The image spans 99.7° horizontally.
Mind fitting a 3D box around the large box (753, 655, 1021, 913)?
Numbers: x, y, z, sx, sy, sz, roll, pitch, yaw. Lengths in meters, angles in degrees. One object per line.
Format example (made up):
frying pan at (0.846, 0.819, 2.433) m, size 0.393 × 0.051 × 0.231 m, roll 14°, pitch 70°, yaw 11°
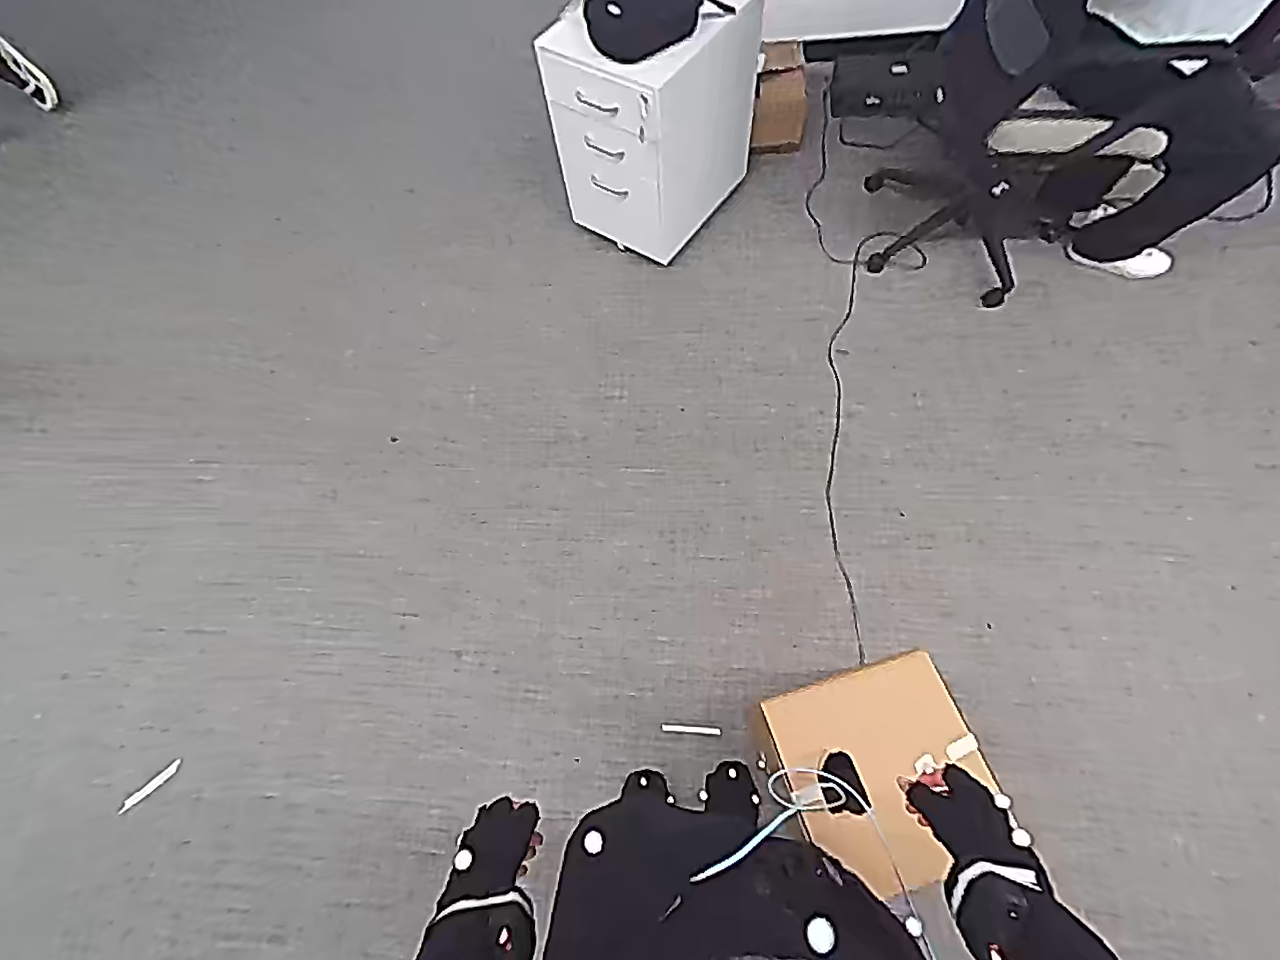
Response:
large box at (0.431, 0.565, 1.060) m, size 0.320 × 0.408 × 0.320 m, roll -18°, pitch 64°, yaw 0°
